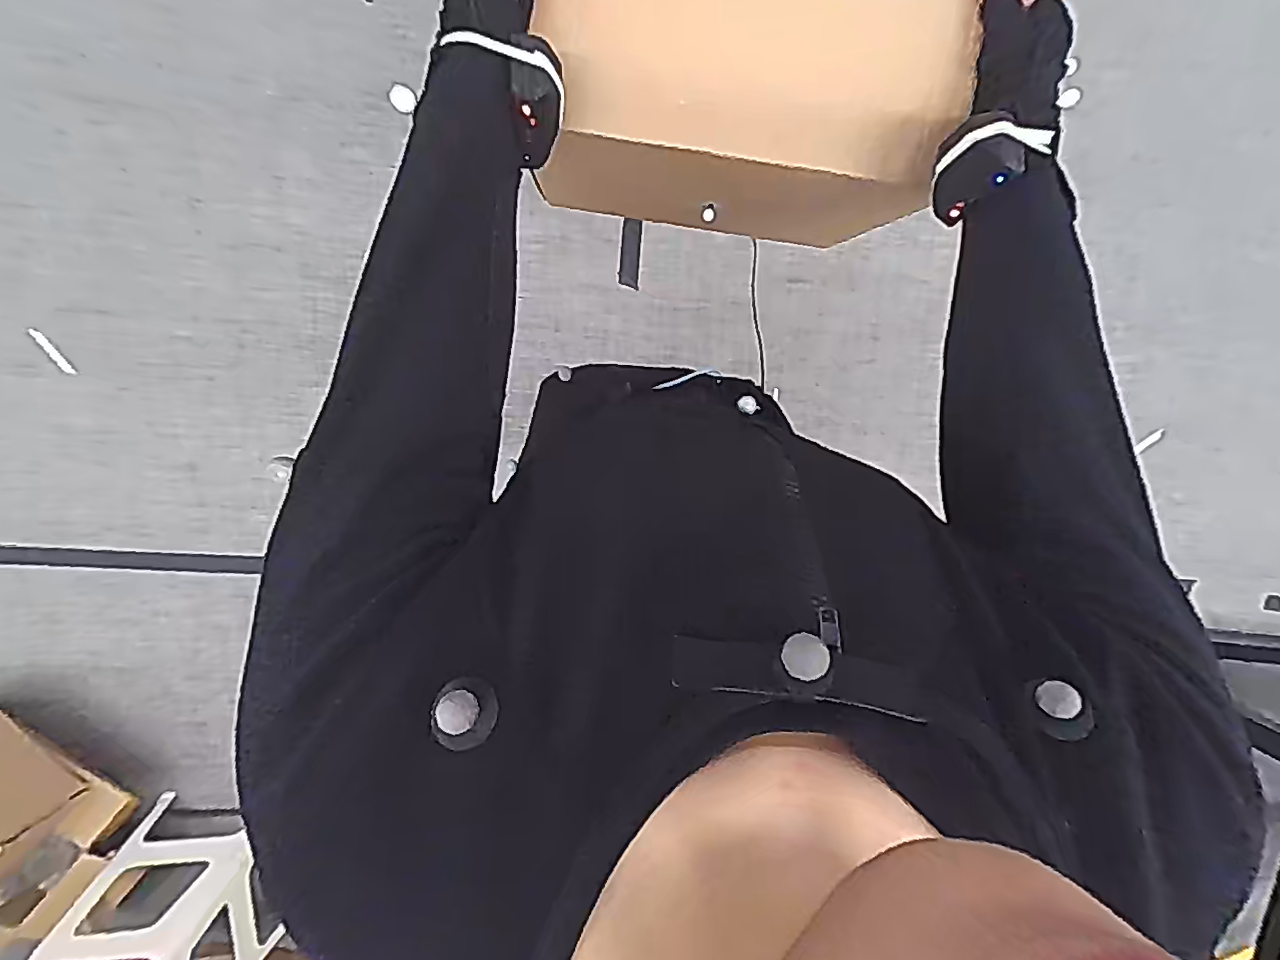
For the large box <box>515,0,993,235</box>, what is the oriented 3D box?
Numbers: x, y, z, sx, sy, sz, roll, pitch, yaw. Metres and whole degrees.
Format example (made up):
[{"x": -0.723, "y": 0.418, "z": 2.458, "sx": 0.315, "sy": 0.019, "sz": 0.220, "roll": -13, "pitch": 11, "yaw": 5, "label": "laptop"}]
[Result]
[{"x": 0.099, "y": -0.473, "z": 0.583, "sx": 0.408, "sy": 0.320, "sz": 0.320, "roll": 6, "pitch": 104, "yaw": -5, "label": "large box"}]
